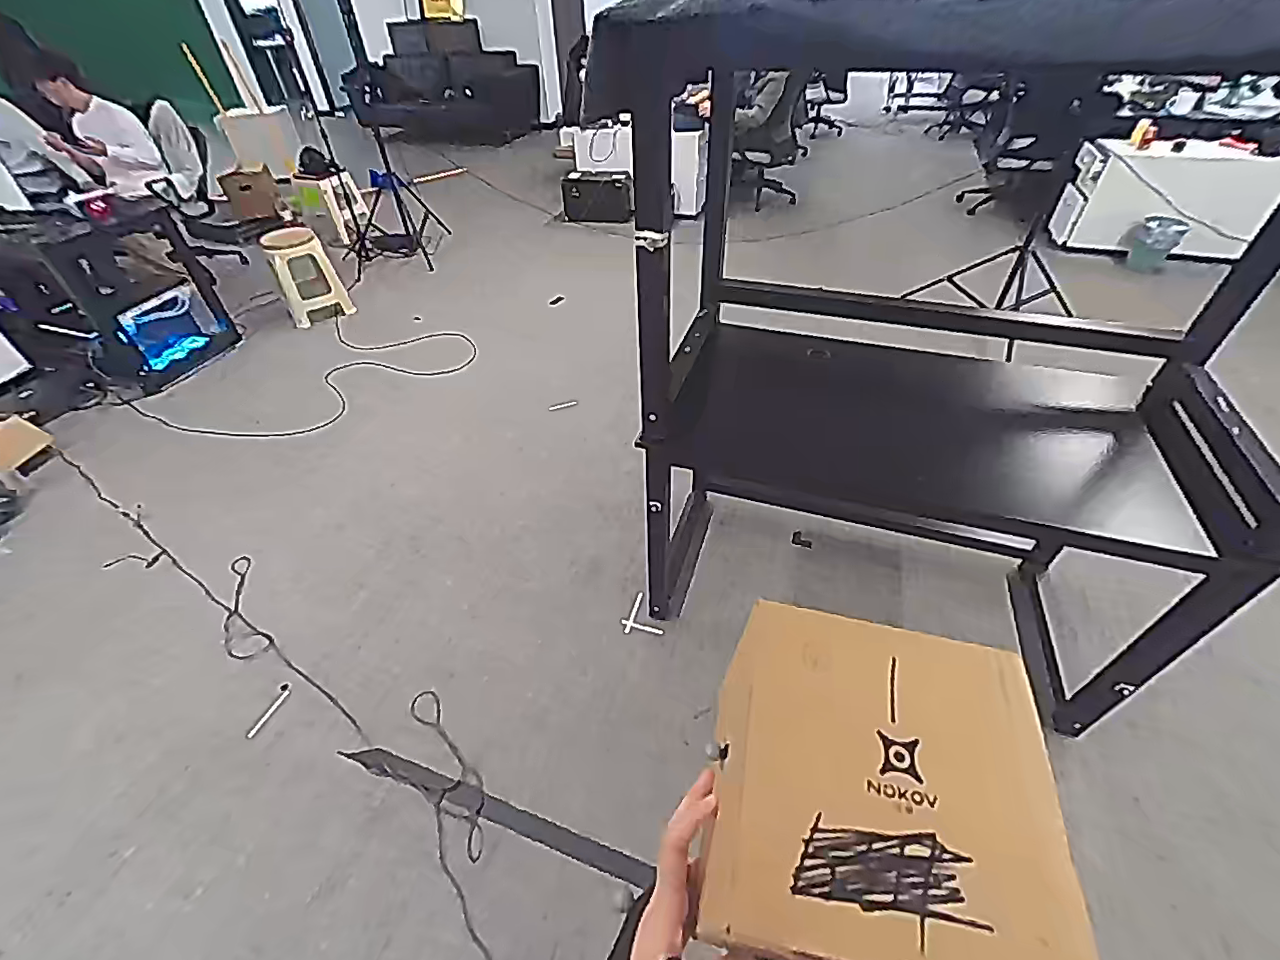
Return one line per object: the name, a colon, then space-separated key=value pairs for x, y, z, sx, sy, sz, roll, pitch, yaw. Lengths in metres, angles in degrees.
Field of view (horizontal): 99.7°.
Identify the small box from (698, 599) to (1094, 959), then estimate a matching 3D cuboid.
small box: x=0.135 y=0.208 z=0.350 sx=0.168 sy=0.176 sz=0.179 roll=11 pitch=49 yaw=7
